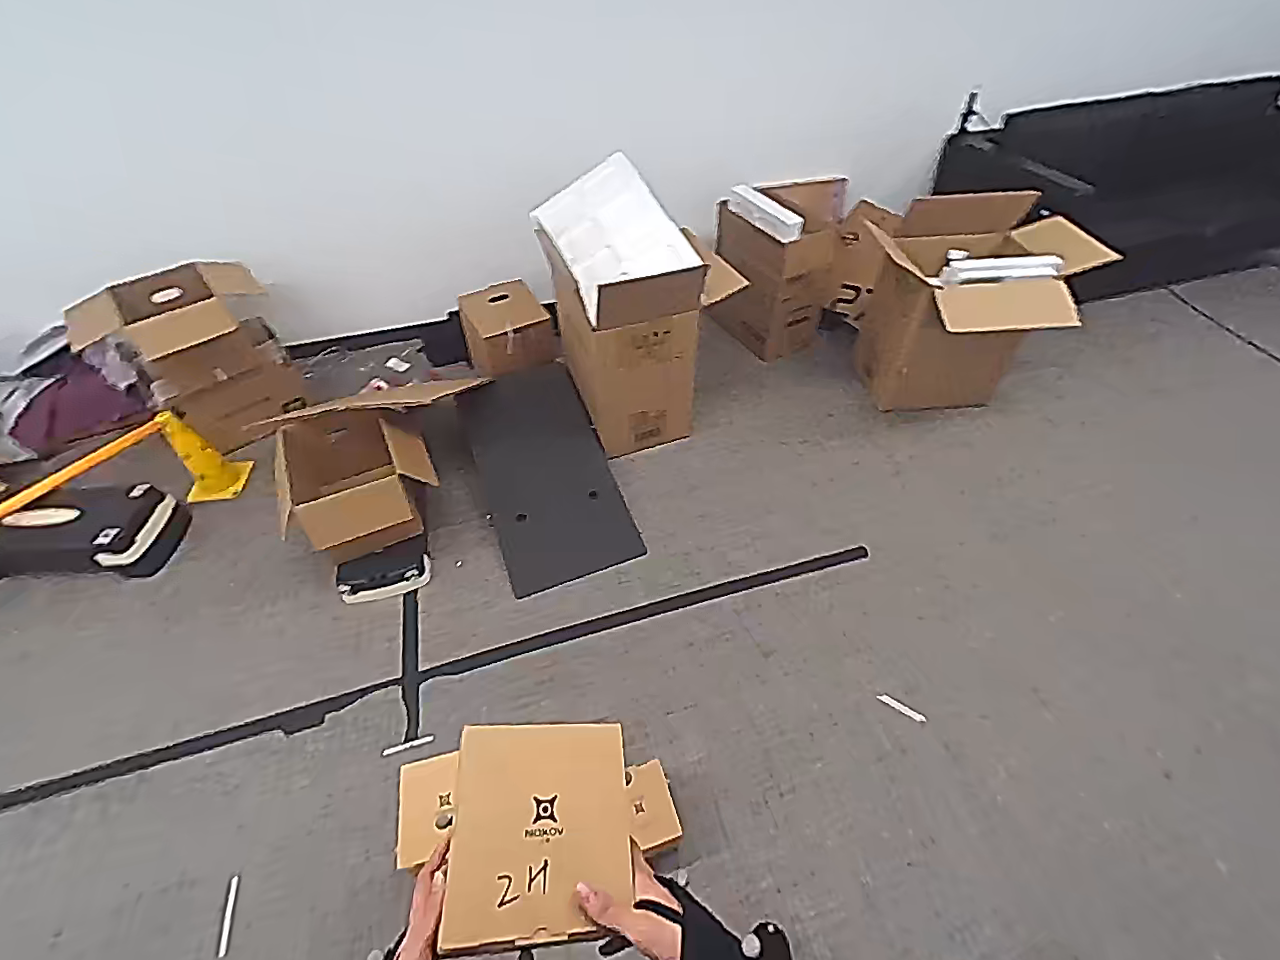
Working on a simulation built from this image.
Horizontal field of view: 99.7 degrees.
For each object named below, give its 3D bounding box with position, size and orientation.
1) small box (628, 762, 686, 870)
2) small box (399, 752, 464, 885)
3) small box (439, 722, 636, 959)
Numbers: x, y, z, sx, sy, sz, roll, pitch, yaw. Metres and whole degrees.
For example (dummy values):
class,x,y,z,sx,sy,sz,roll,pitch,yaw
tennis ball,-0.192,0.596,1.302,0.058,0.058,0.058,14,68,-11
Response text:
class,x,y,z,sx,sy,sz,roll,pitch,yaw
small box,0.004,0.834,1.334,0.168,0.176,0.179,-15,50,-11
small box,-0.357,0.655,1.054,0.168,0.176,0.179,-10,49,-10
small box,-0.109,0.369,0.557,0.168,0.176,0.179,7,47,-15
